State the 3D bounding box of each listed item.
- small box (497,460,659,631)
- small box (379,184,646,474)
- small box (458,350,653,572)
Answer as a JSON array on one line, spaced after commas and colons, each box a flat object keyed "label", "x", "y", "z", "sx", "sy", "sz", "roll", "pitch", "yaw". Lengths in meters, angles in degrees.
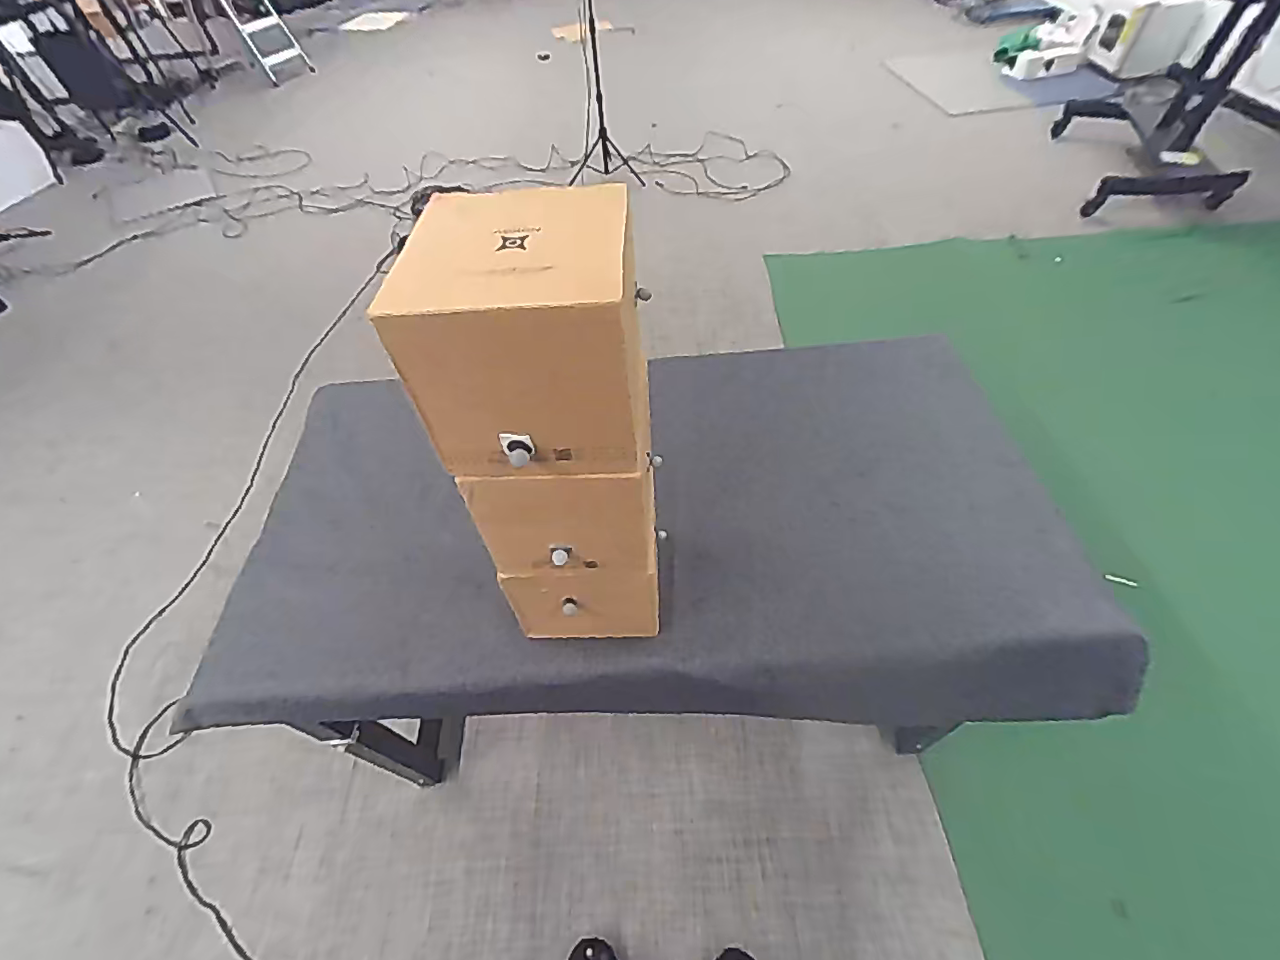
[{"label": "small box", "x": -0.067, "y": 0.088, "z": 0.705, "sx": 0.179, "sy": 0.176, "sz": 0.168, "roll": -1, "pitch": 51, "yaw": 3}, {"label": "small box", "x": -0.083, "y": -0.124, "z": 0.458, "sx": 0.168, "sy": 0.176, "sz": 0.179, "roll": -2, "pitch": 52, "yaw": 3}, {"label": "small box", "x": -0.072, "y": -0.020, "z": 0.581, "sx": 0.168, "sy": 0.176, "sz": 0.179, "roll": 0, "pitch": 52, "yaw": 3}]
